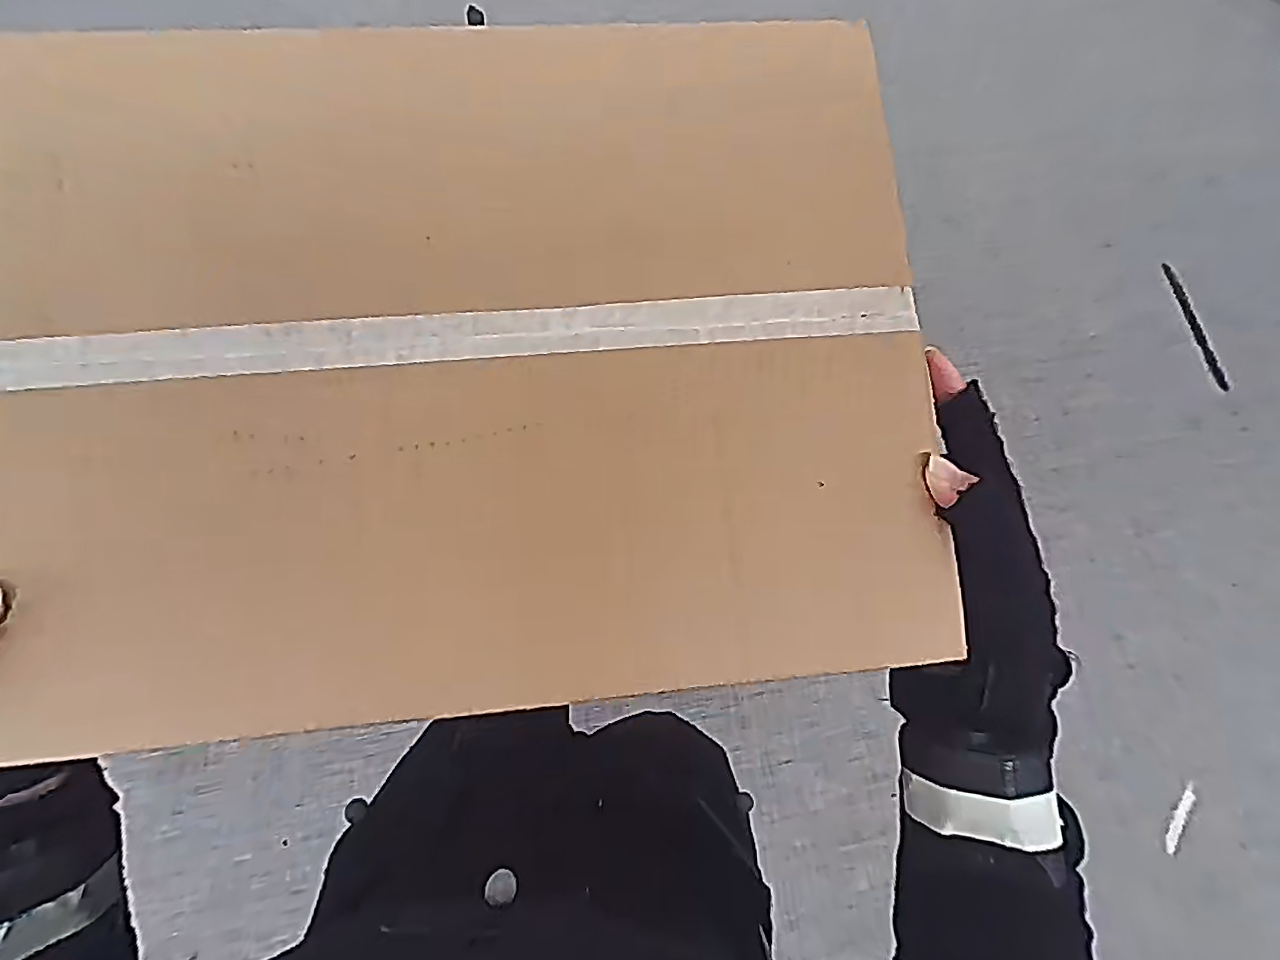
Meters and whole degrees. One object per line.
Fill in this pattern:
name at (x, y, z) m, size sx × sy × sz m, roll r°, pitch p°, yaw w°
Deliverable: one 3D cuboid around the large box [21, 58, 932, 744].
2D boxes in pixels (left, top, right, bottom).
large box at (-0.084, -0.039, 0.404) m, size 0.408 × 0.320 × 0.320 m, roll -5°, pitch 84°, yaw -4°
